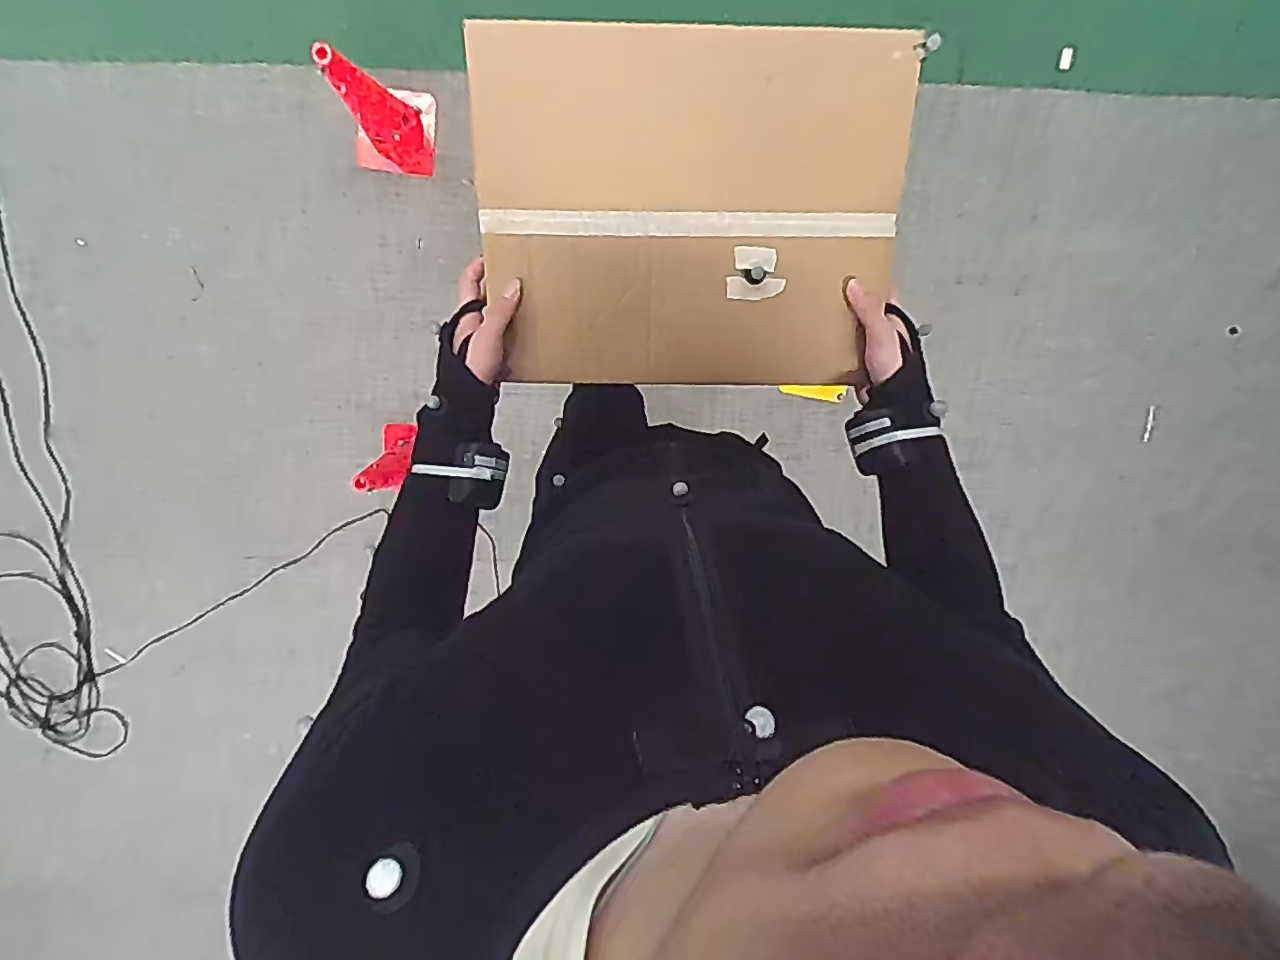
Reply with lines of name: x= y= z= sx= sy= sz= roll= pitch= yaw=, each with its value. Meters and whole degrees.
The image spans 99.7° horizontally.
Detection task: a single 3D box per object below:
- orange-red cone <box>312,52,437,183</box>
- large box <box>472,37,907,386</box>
orange-red cone: x=-0.642 y=-0.866 z=1.255 sx=0.199 sy=0.360 sz=0.198 roll=8 pitch=100 yaw=-1
large box: x=0.043 y=-0.301 z=0.676 sx=0.408 sy=0.320 sz=0.320 roll=-1 pitch=110 yaw=-2
